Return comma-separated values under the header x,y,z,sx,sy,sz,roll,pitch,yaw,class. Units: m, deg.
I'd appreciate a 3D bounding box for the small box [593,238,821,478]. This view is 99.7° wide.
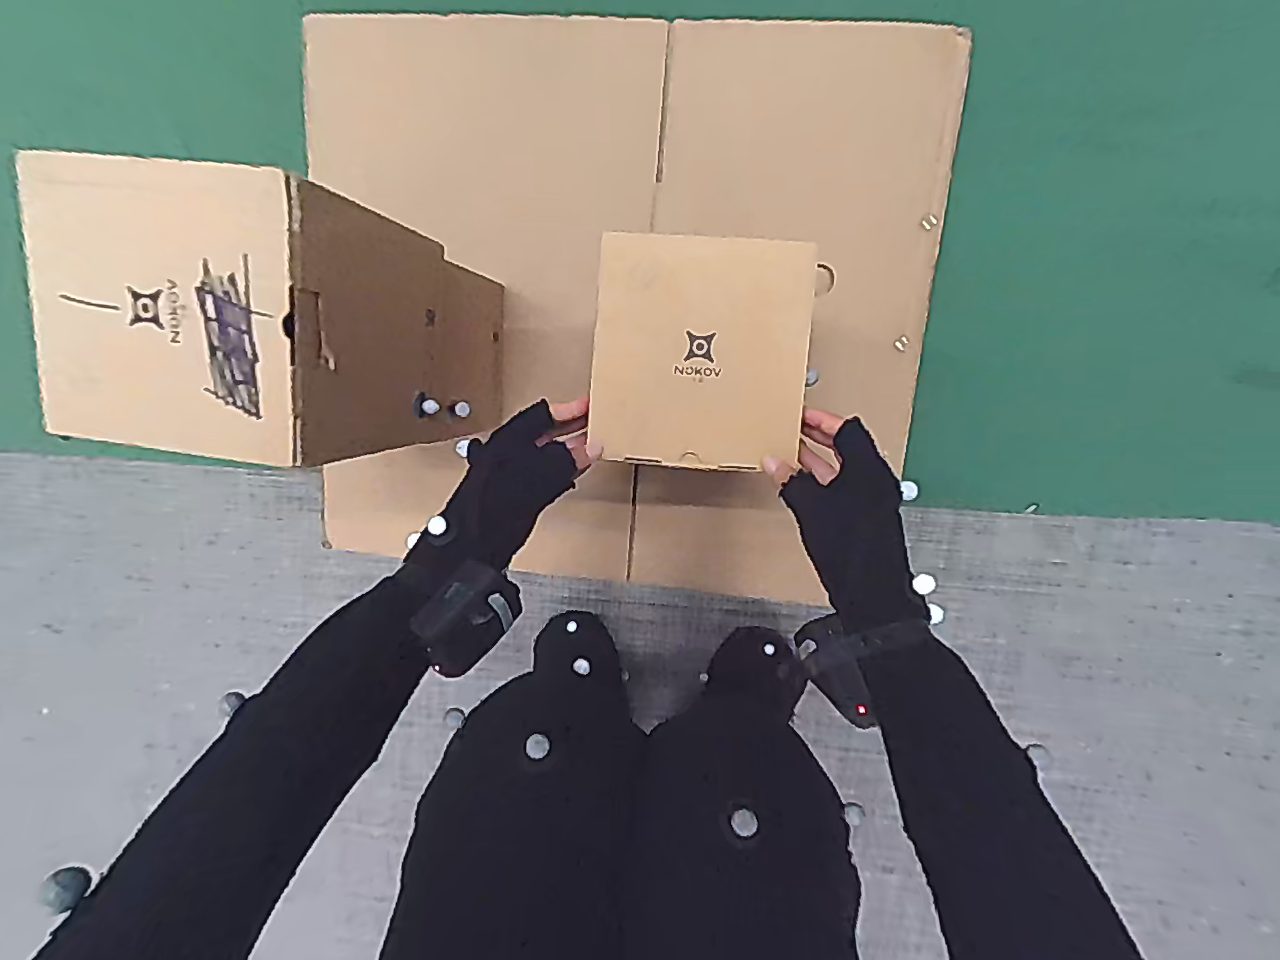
x,y,z,sx,sy,sz,roll,pitch,yaw,class
0.056,-0.100,0.497,0.168,0.176,0.179,4,96,5,small box

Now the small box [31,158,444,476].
x,y,z,sx,sy,sz,roll,pitch,yaw,class
-0.263,-0.108,0.395,0.179,0.176,0.168,8,101,7,small box
